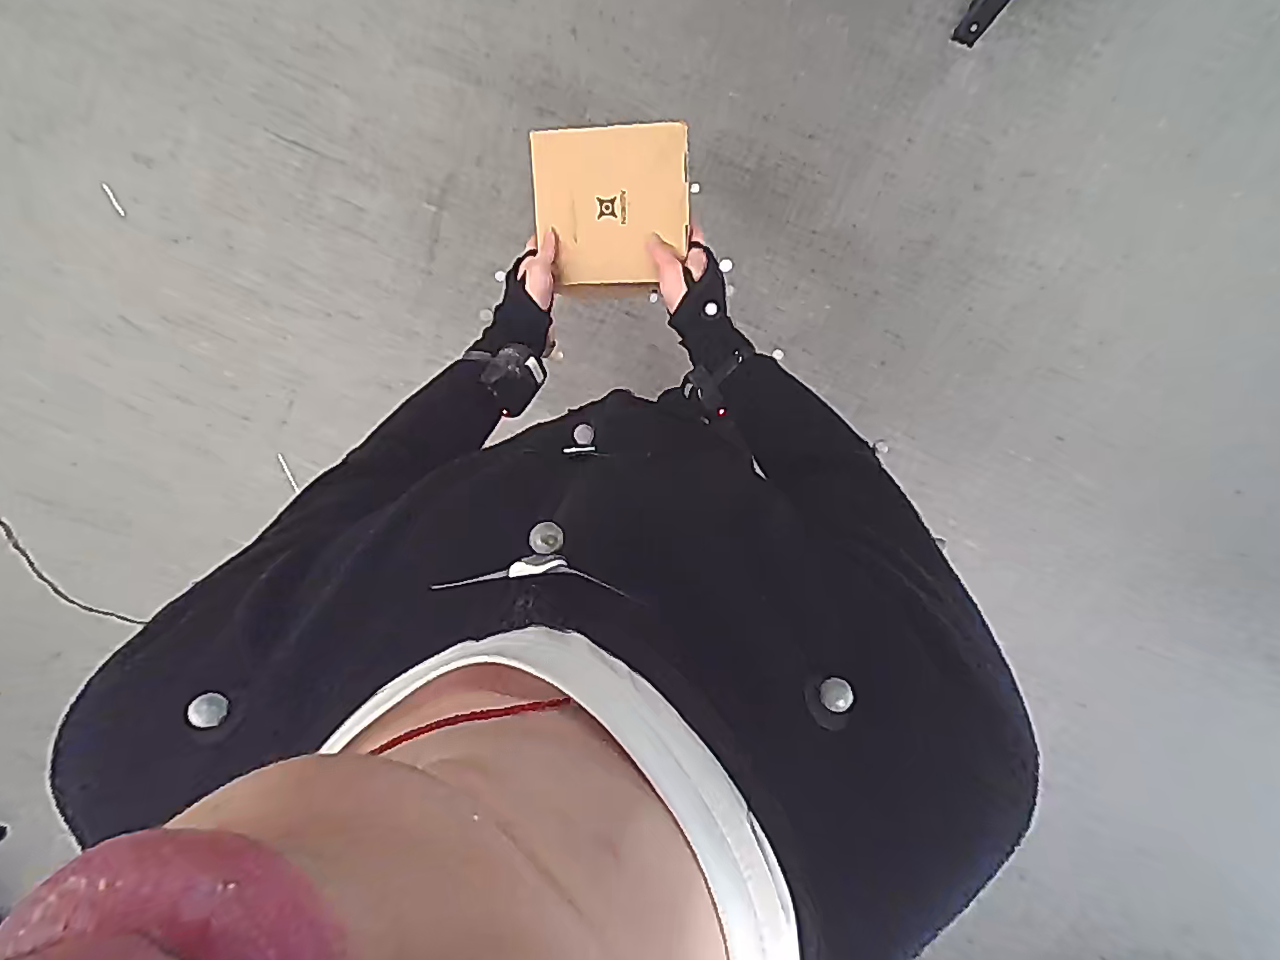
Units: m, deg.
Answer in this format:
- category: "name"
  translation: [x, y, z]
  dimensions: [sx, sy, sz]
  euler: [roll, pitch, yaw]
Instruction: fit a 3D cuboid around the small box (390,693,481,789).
- category: "small box"
  translation: [-0.609, 0.779, 1.634]
  dimensions: [0.179, 0.176, 0.168]
  euler: [27, 97, -2]
